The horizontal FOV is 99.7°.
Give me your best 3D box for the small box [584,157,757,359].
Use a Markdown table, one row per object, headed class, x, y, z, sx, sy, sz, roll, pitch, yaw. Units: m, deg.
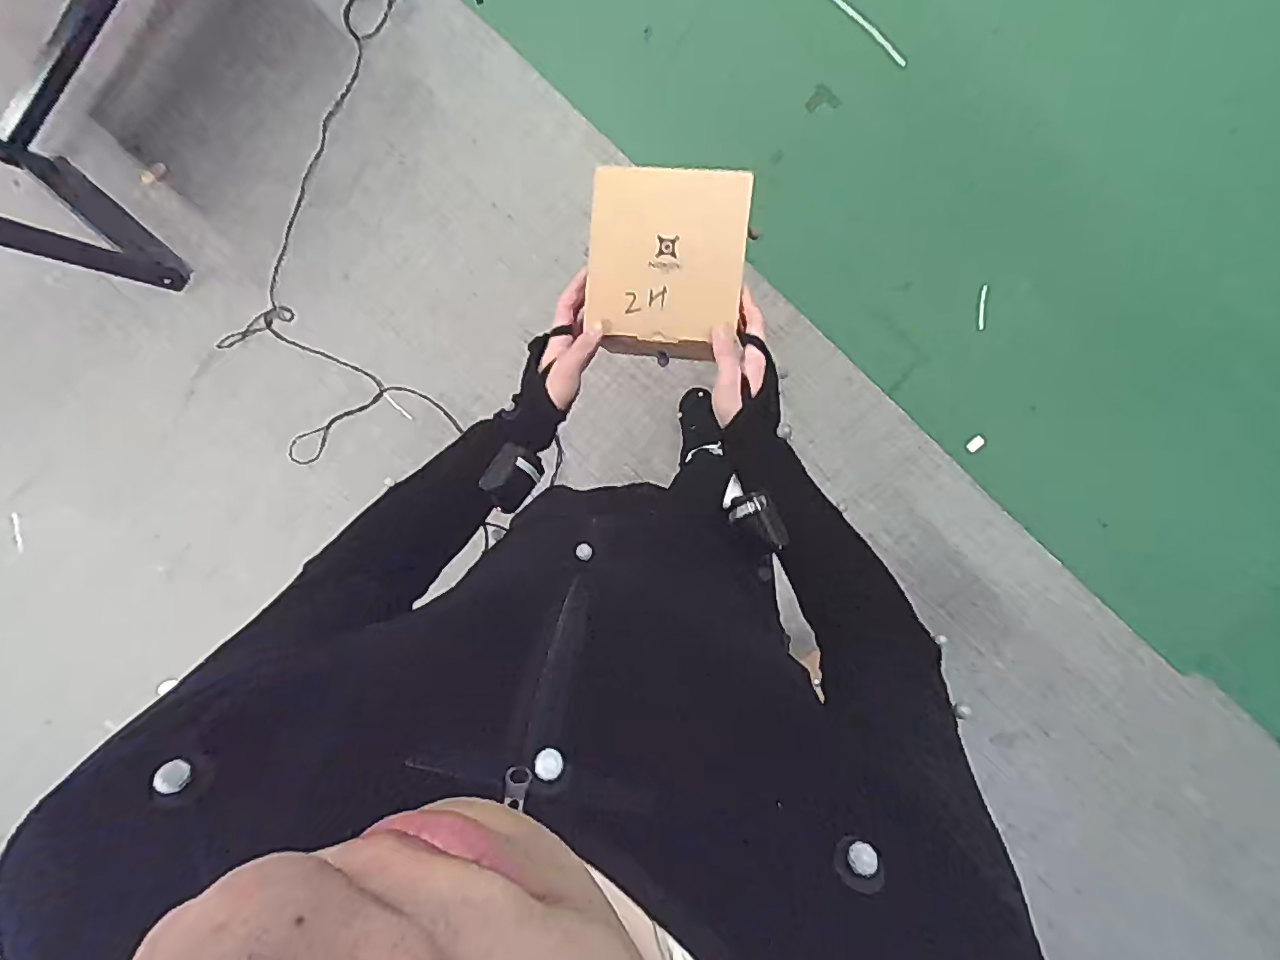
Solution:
| class | x | y | z | sx | sy | sz | roll | pitch | yaw |
| --- | --- | --- | --- | --- | --- | --- | --- | --- | --- |
| small box | 0.037 | -0.245 | 0.634 | 0.168 | 0.176 | 0.179 | 6 | 97 | 6 |
